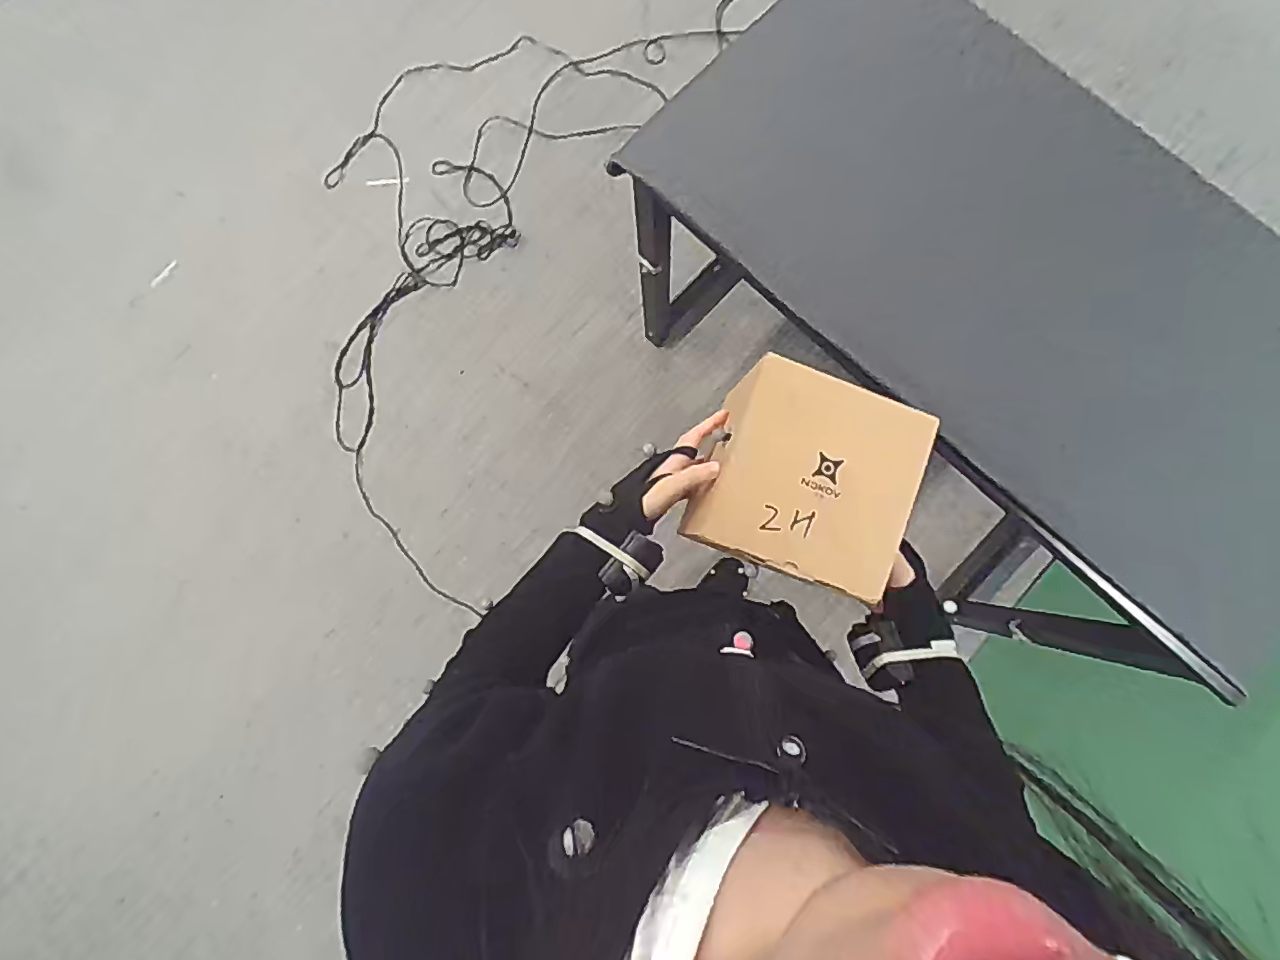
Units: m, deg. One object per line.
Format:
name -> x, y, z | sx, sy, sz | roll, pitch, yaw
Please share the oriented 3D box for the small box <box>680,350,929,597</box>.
small box -> 0.149, -0.001, 0.550 | 0.168, 0.176, 0.179 | 20, 84, -2
